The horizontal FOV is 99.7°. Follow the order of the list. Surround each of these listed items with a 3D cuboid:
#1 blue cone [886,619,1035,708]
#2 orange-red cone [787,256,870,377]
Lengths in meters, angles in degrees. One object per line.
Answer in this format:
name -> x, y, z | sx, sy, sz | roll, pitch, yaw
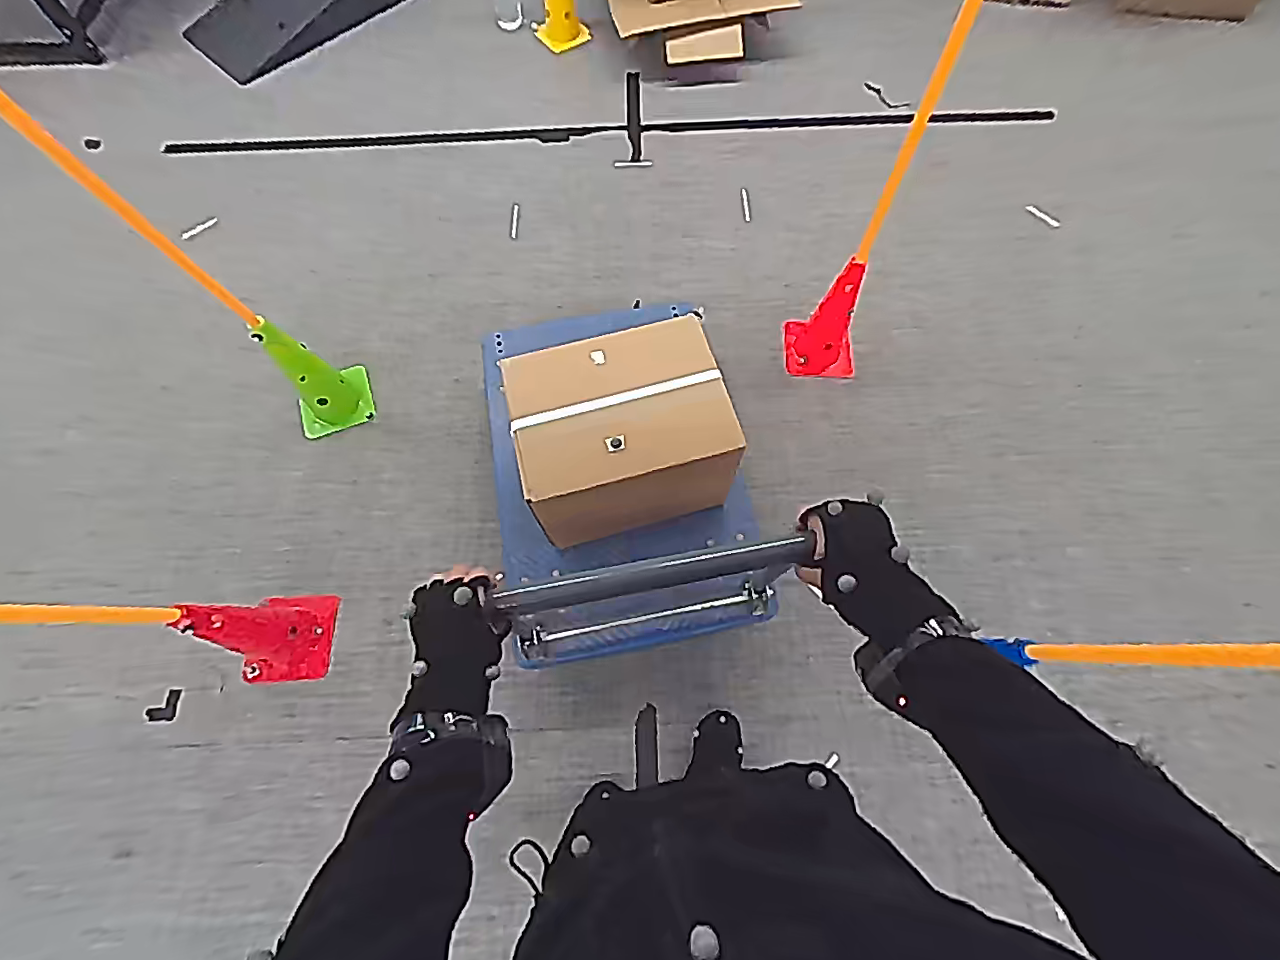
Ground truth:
blue cone -> 0.698, 0.368, 1.137 | 0.193, 0.380, 0.192 | -5, 66, -2
orange-red cone -> 0.544, -0.464, 1.473 | 0.199, 0.360, 0.198 | 5, 68, 1
